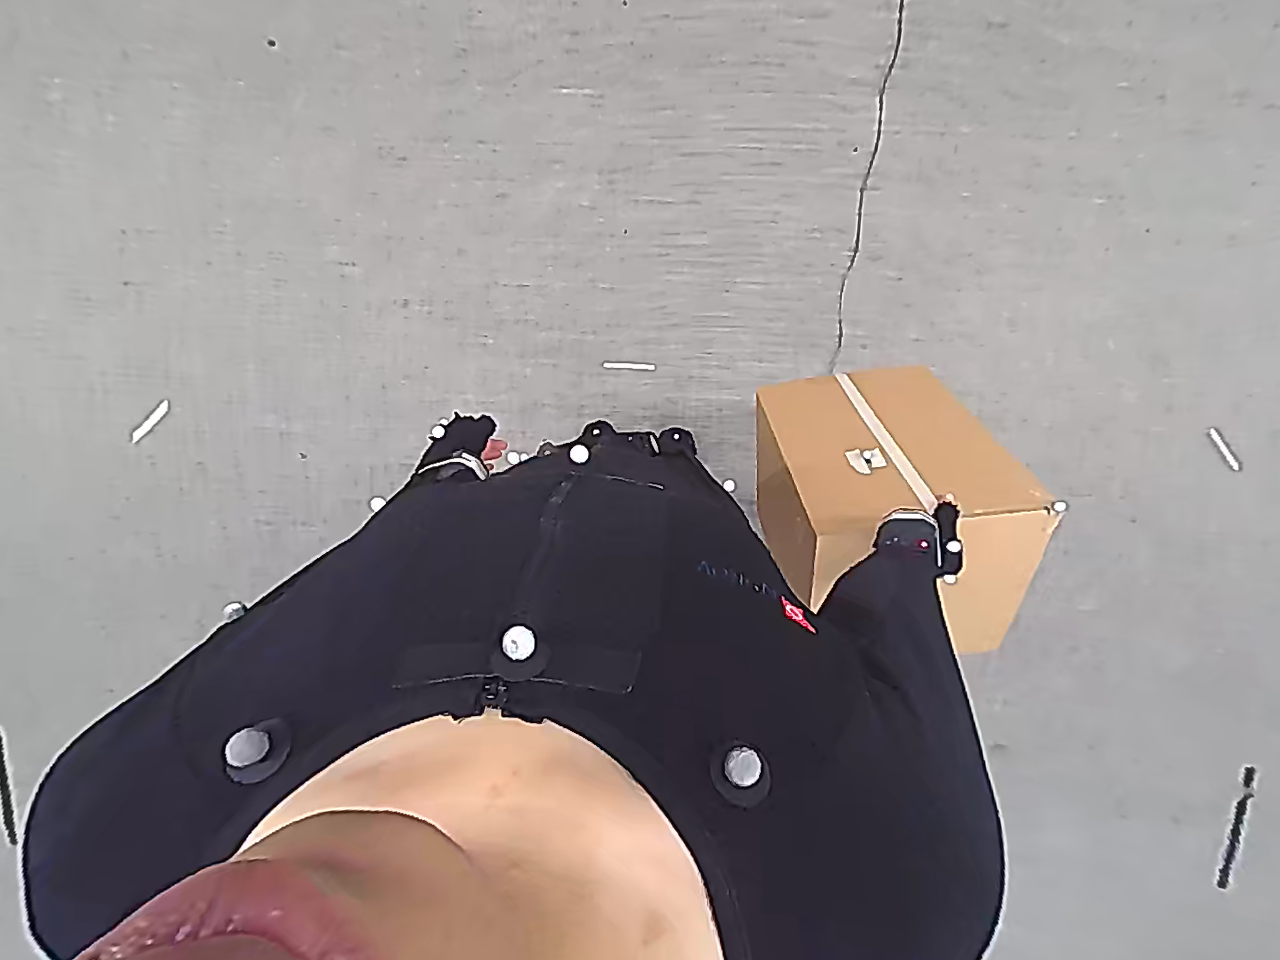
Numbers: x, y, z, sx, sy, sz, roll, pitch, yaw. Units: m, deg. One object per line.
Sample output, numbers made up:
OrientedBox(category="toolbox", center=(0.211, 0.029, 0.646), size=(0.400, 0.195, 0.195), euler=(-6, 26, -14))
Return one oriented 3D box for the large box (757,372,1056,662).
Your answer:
OrientedBox(category="large box", center=(0.403, 0.053, 0.959), size=(0.320, 0.408, 0.320), euler=(-8, 129, 3))
